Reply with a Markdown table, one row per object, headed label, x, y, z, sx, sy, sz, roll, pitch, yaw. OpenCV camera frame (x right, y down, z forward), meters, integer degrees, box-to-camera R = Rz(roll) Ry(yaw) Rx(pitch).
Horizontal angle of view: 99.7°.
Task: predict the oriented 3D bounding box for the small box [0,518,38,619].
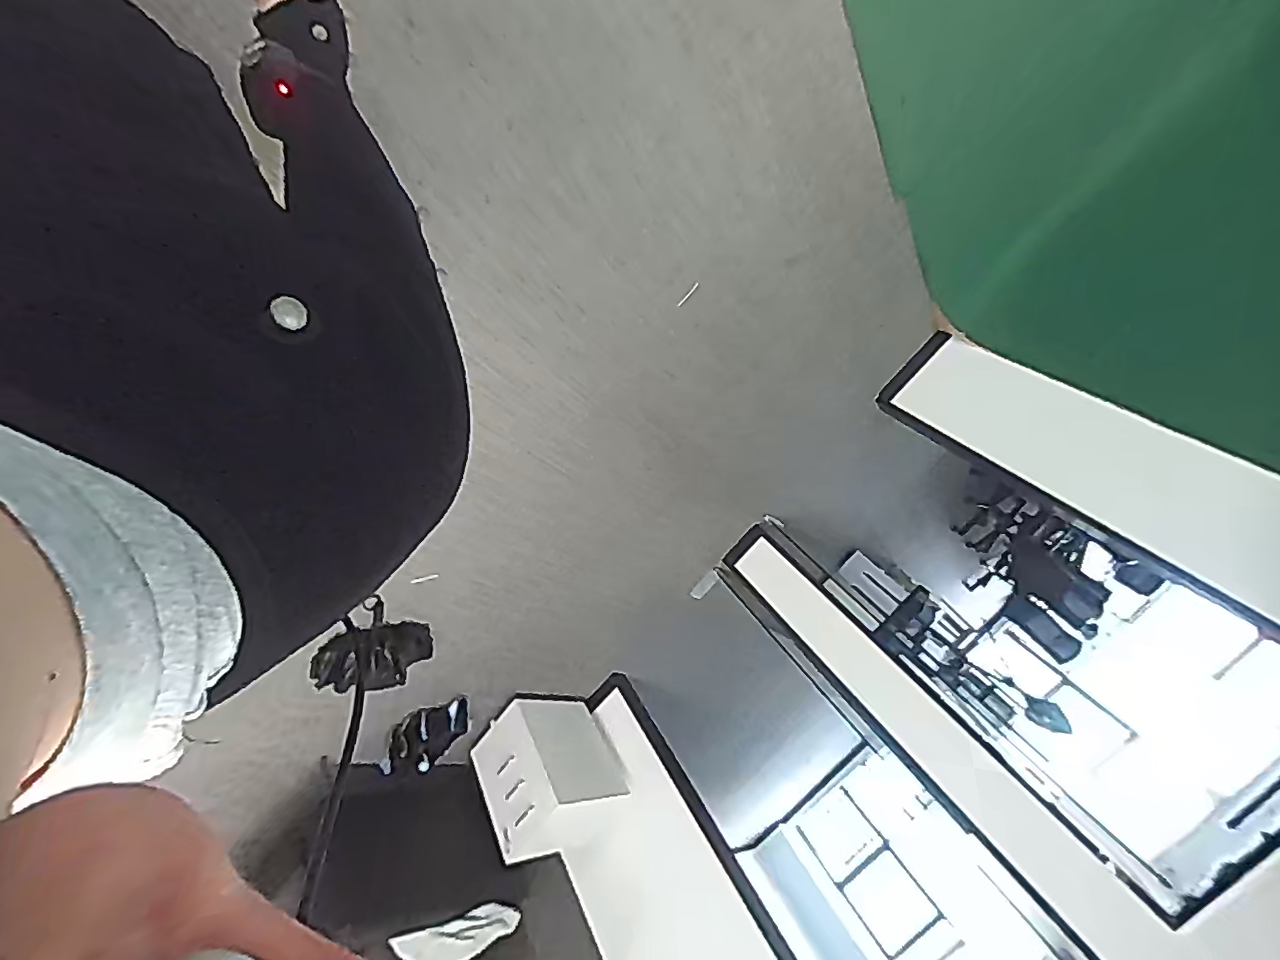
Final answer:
| label | x | y | z | sx | sy | sz | roll | pitch | yaw |
| --- | --- | --- | --- | --- | --- | --- | --- | --- | --- |
| small box | -1.353 | 0.183 | 1.072 | 0.179 | 0.176 | 0.168 | -51 | 140 | 9 |
